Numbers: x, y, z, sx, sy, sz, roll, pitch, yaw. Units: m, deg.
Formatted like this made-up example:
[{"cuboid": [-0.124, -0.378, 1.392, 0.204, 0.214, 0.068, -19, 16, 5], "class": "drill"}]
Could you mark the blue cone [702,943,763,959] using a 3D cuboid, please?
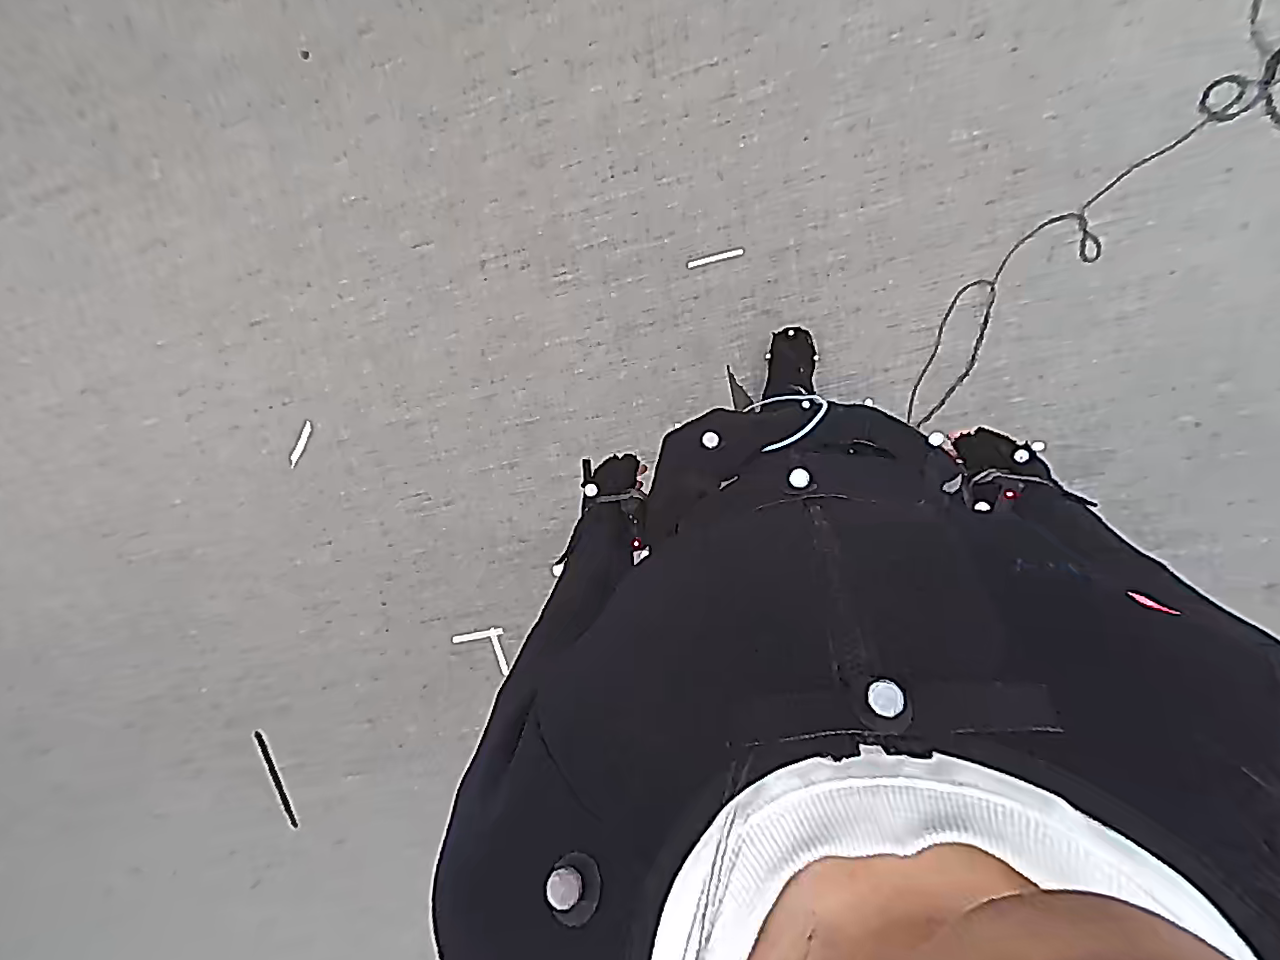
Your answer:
[{"cuboid": [0.275, 1.604, 1.579, 0.192, 0.380, 0.193, -6, 100, 12], "class": "blue cone"}]
